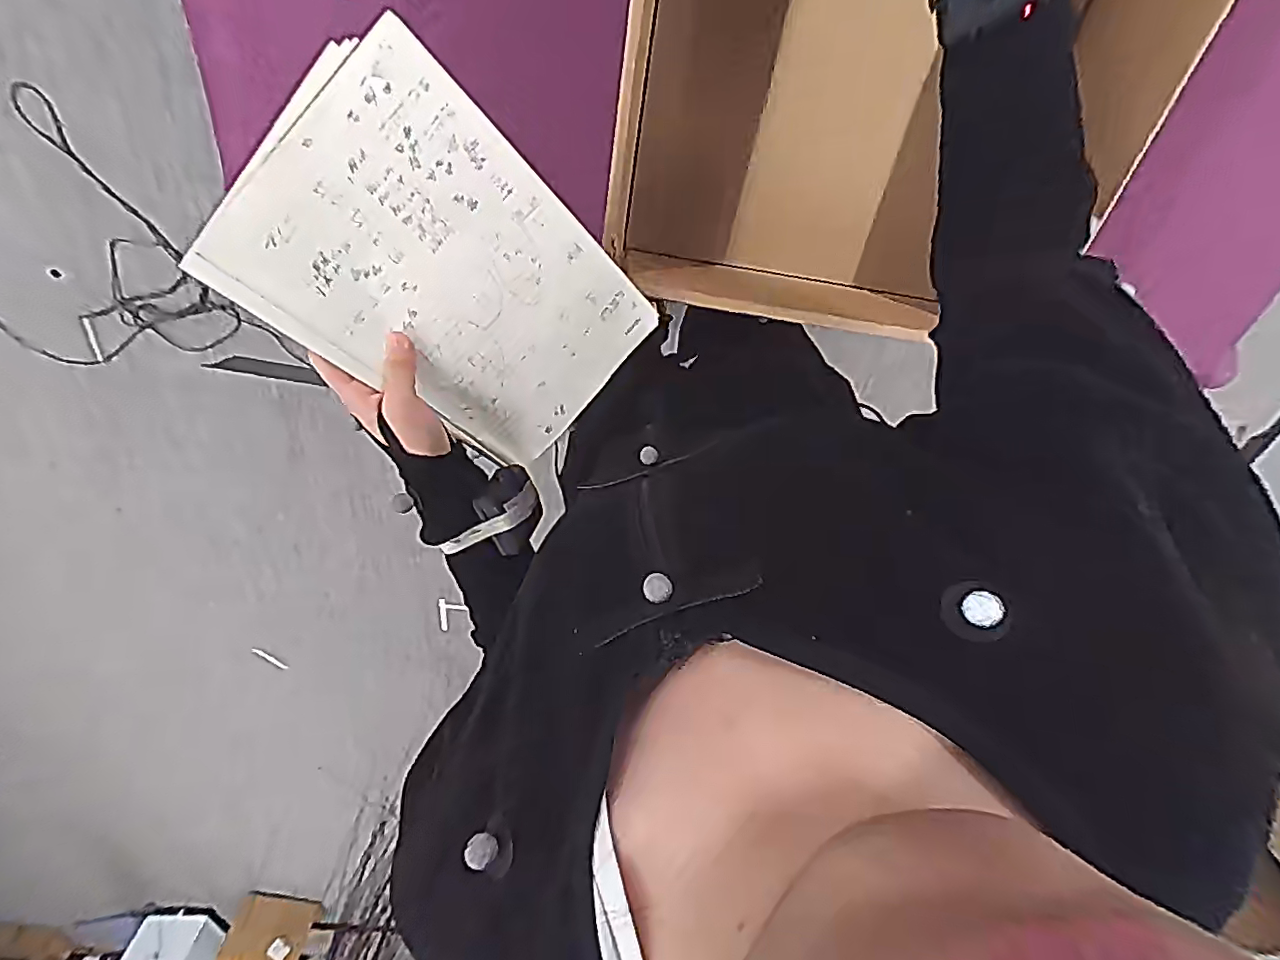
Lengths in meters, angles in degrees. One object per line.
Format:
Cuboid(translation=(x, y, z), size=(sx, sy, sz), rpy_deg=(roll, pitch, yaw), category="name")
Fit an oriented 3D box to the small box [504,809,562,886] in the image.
Cuboid(translation=(-0.372, 1.284, 1.896), size=(0.168, 0.176, 0.179), rpy_deg=(11, 122, -7), category="small box")
